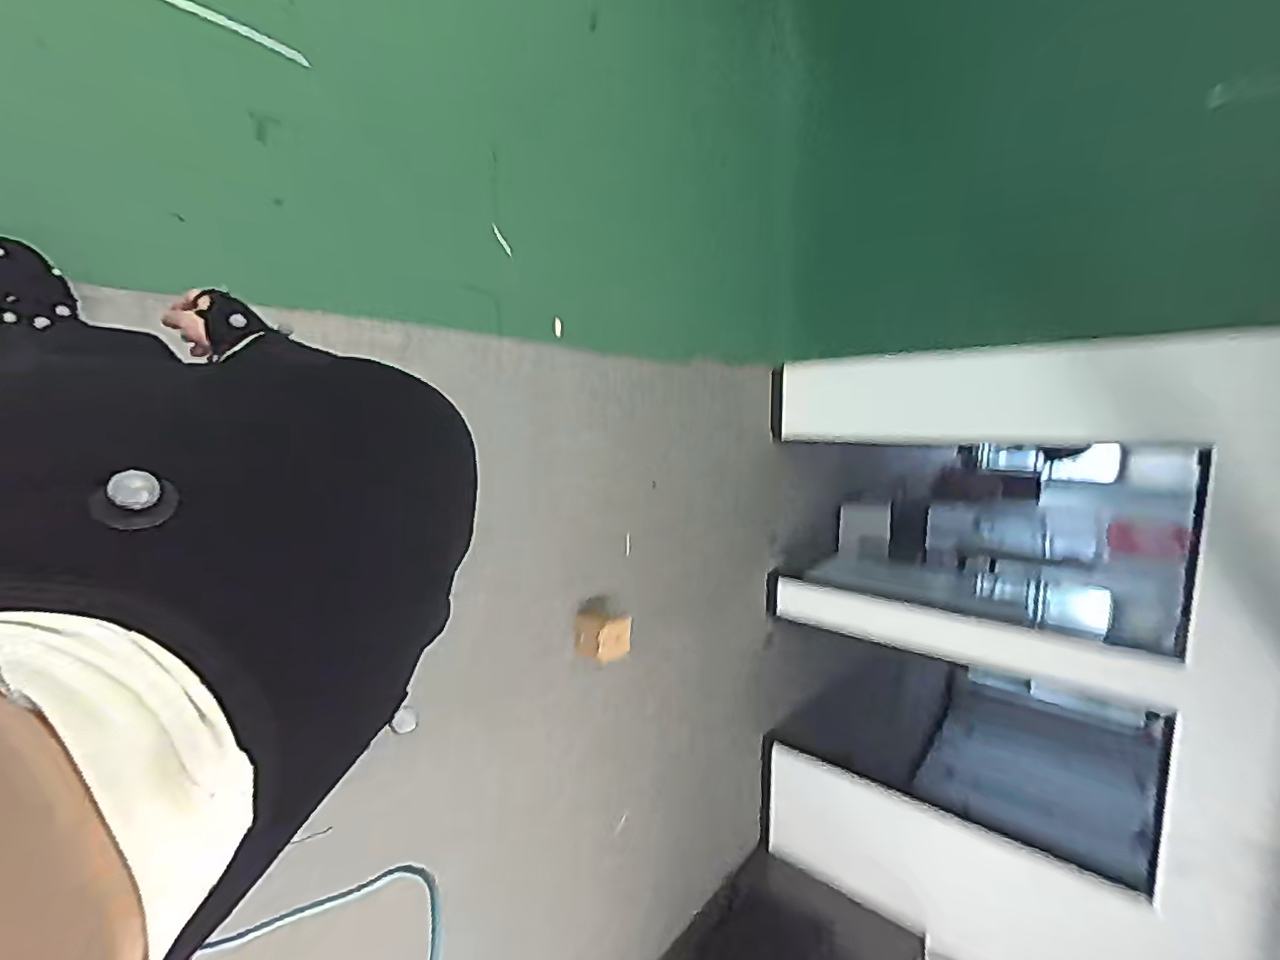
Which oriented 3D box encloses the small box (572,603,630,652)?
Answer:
[{"bbox_3d":[-0.171,0.641,2.366,0.179,0.176,0.168,10,85,-49],"label":"small box"}]
